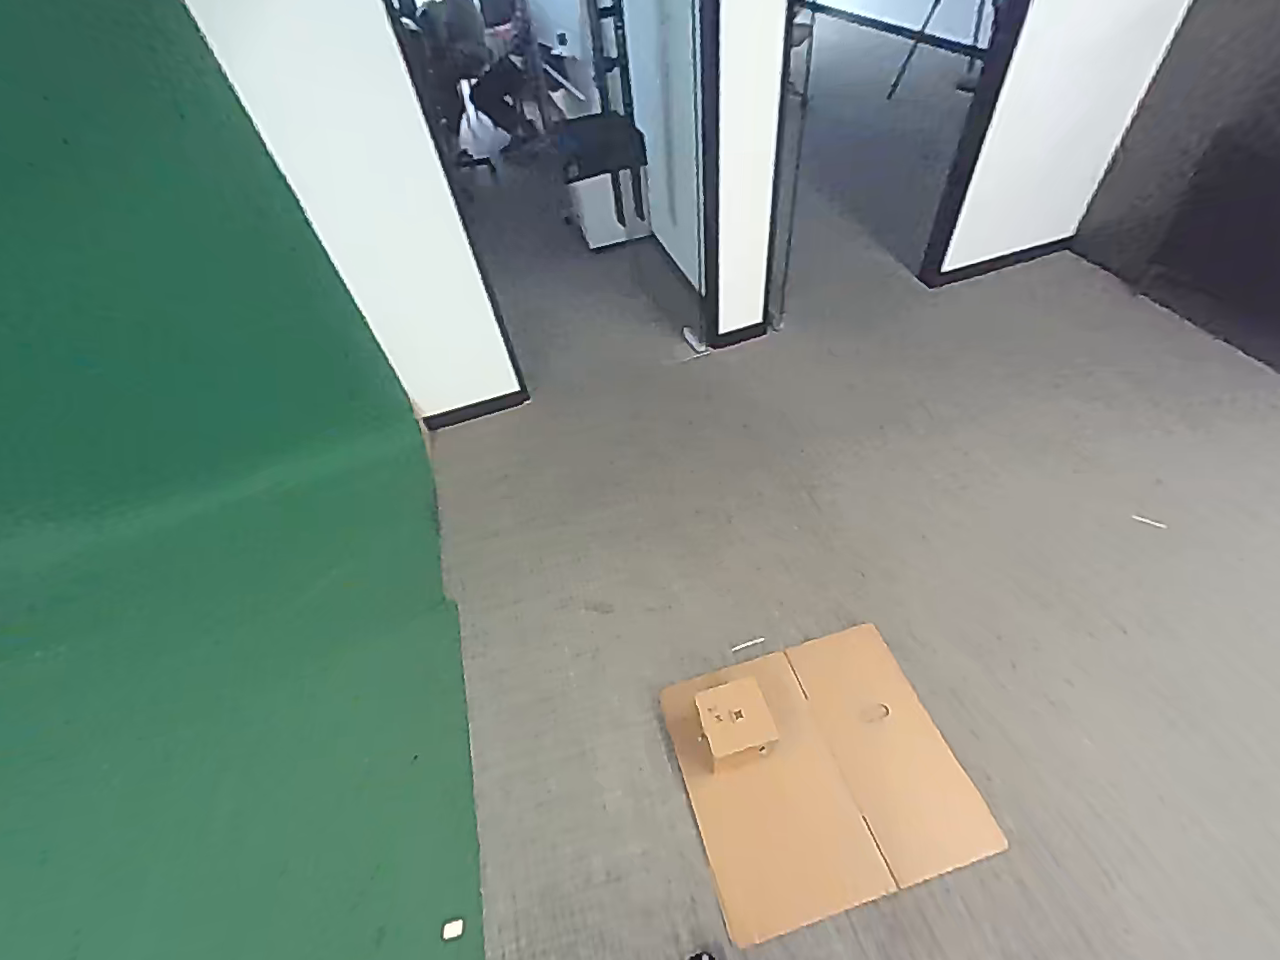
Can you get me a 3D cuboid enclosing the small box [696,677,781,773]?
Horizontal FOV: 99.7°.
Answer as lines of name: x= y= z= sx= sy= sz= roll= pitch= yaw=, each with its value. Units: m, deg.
small box: x=0.255 y=0.652 z=1.434 sx=0.179 sy=0.176 sz=0.168 roll=-15 pitch=49 yaw=-4
